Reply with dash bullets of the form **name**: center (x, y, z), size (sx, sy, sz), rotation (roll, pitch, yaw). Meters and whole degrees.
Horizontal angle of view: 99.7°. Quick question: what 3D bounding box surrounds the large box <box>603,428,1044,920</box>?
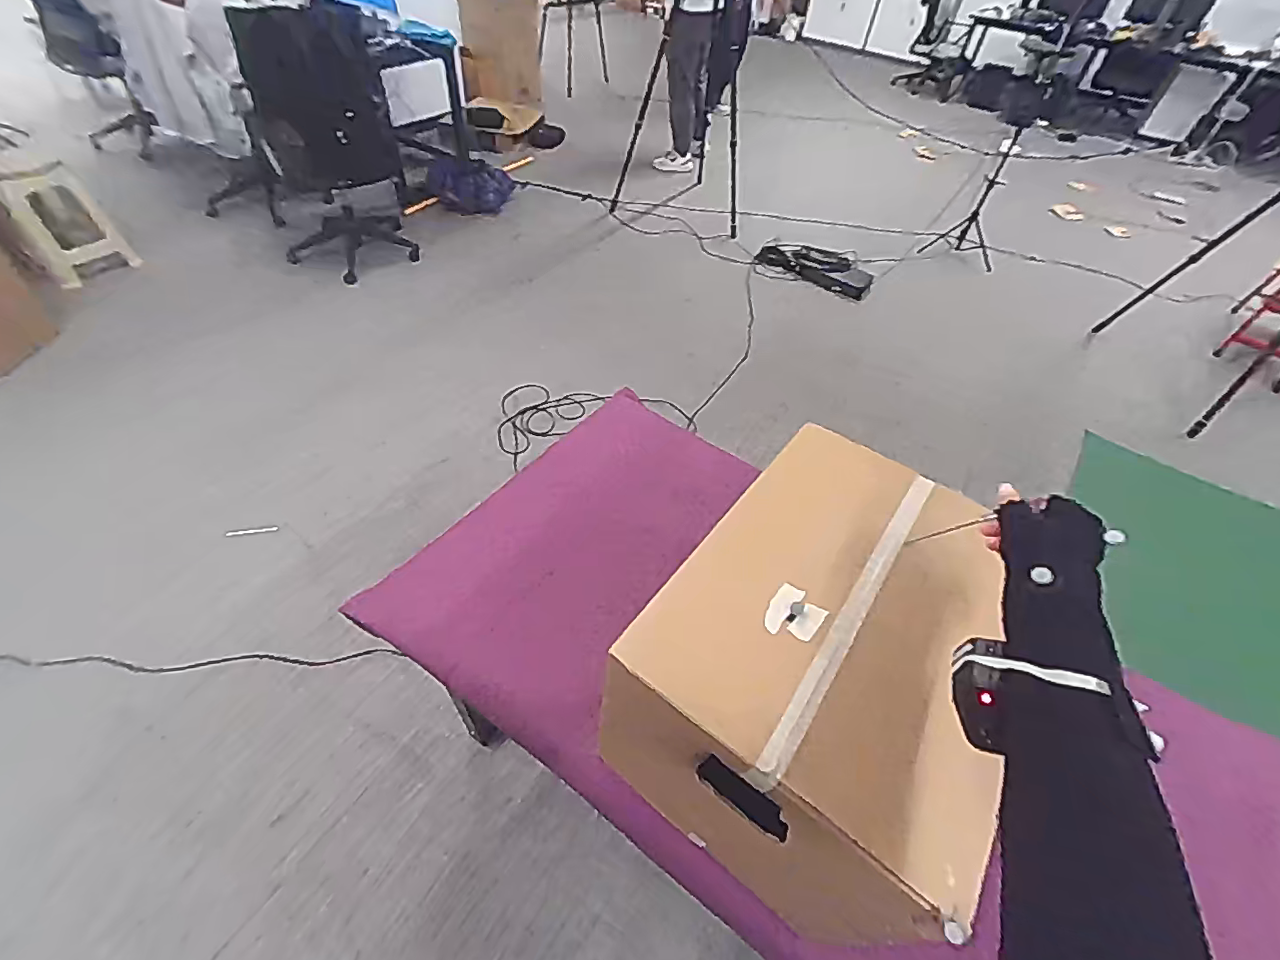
- **large box**: center (0.200, 0.215, 0.656), size (0.320, 0.320, 0.408), rotation (33, 54, 21)
